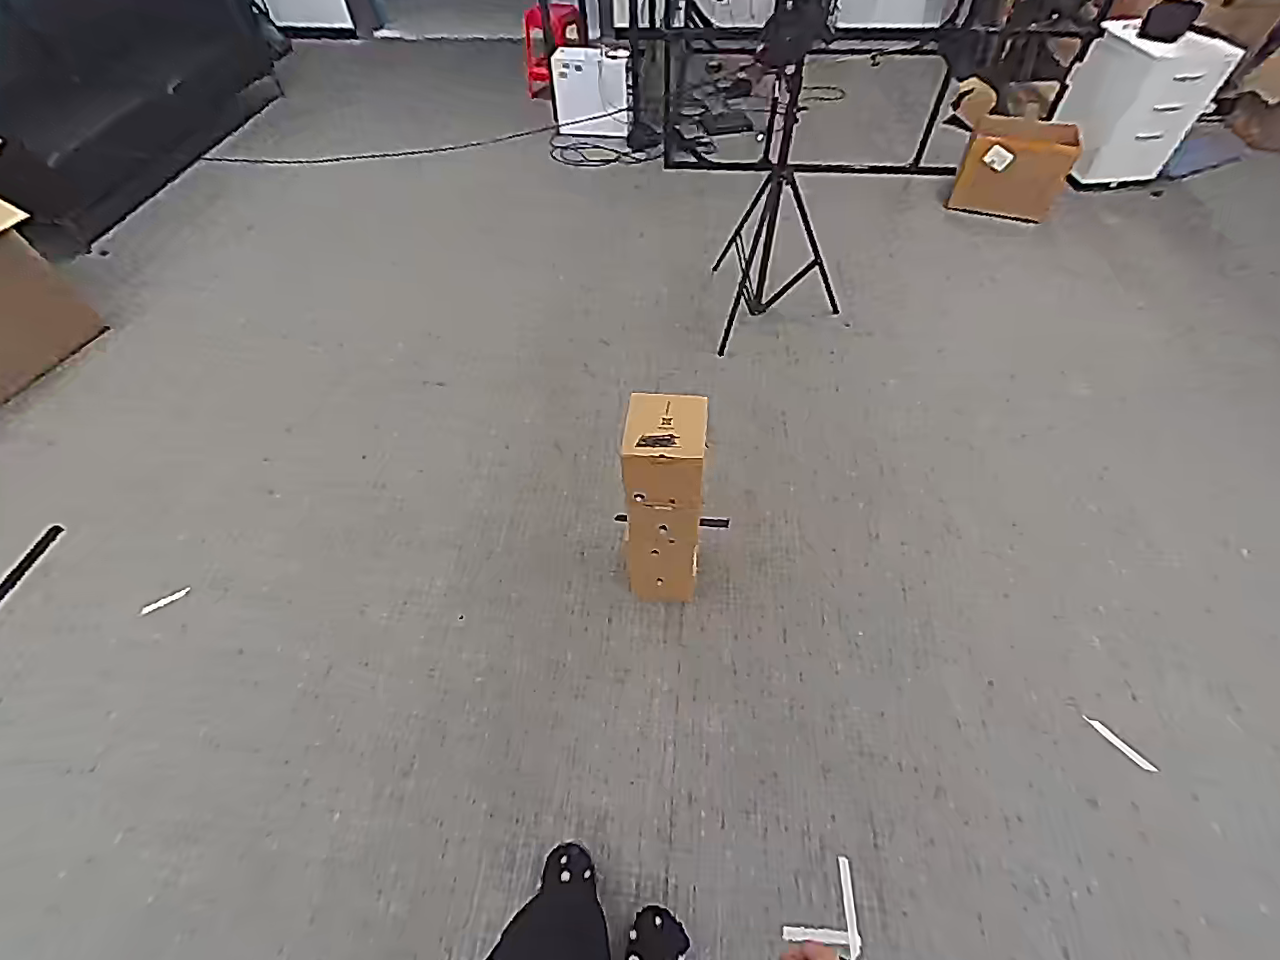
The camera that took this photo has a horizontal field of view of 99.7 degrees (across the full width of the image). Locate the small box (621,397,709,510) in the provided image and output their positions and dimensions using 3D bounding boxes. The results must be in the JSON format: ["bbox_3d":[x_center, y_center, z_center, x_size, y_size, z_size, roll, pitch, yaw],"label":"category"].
[{"bbox_3d":[0.057,-0.053,1.155,0.168,0.176,0.179,4,53,6],"label":"small box"}]

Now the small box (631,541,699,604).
[{"bbox_3d":[0.073,0.243,1.548,0.179,0.176,0.168,4,54,5],"label":"small box"}]

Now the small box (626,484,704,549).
[{"bbox_3d":[0.065,0.048,1.285,0.168,0.176,0.179,5,54,6],"label":"small box"}]

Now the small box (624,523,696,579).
[{"bbox_3d":[0.061,0.147,1.415,0.179,0.176,0.168,6,55,7],"label":"small box"}]
